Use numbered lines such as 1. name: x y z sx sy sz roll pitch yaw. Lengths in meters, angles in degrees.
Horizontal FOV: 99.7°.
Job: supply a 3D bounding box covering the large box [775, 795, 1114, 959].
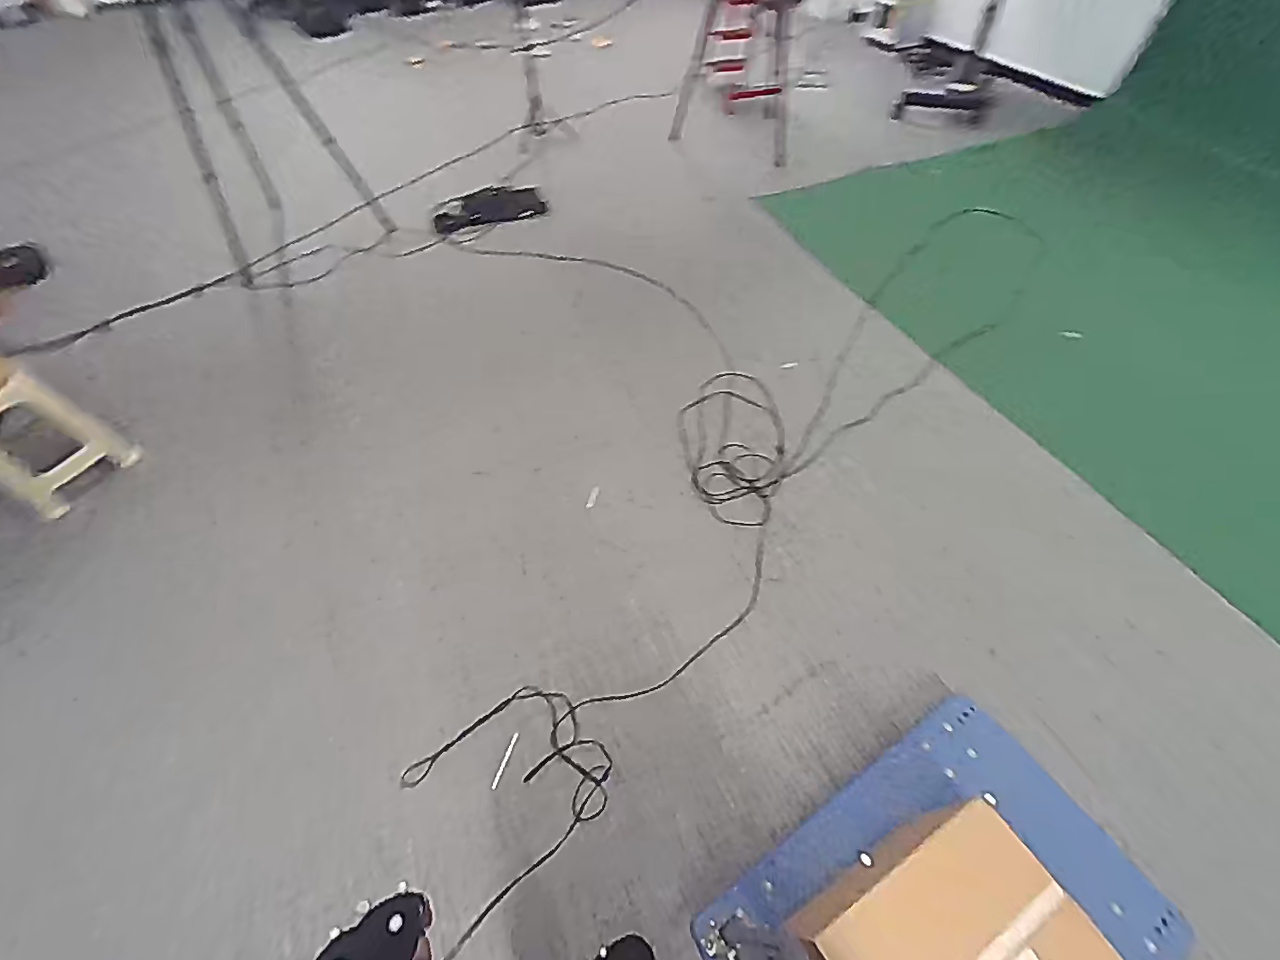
1. large box: 0.513 0.849 0.959 0.408 0.320 0.320 -25 57 -19
